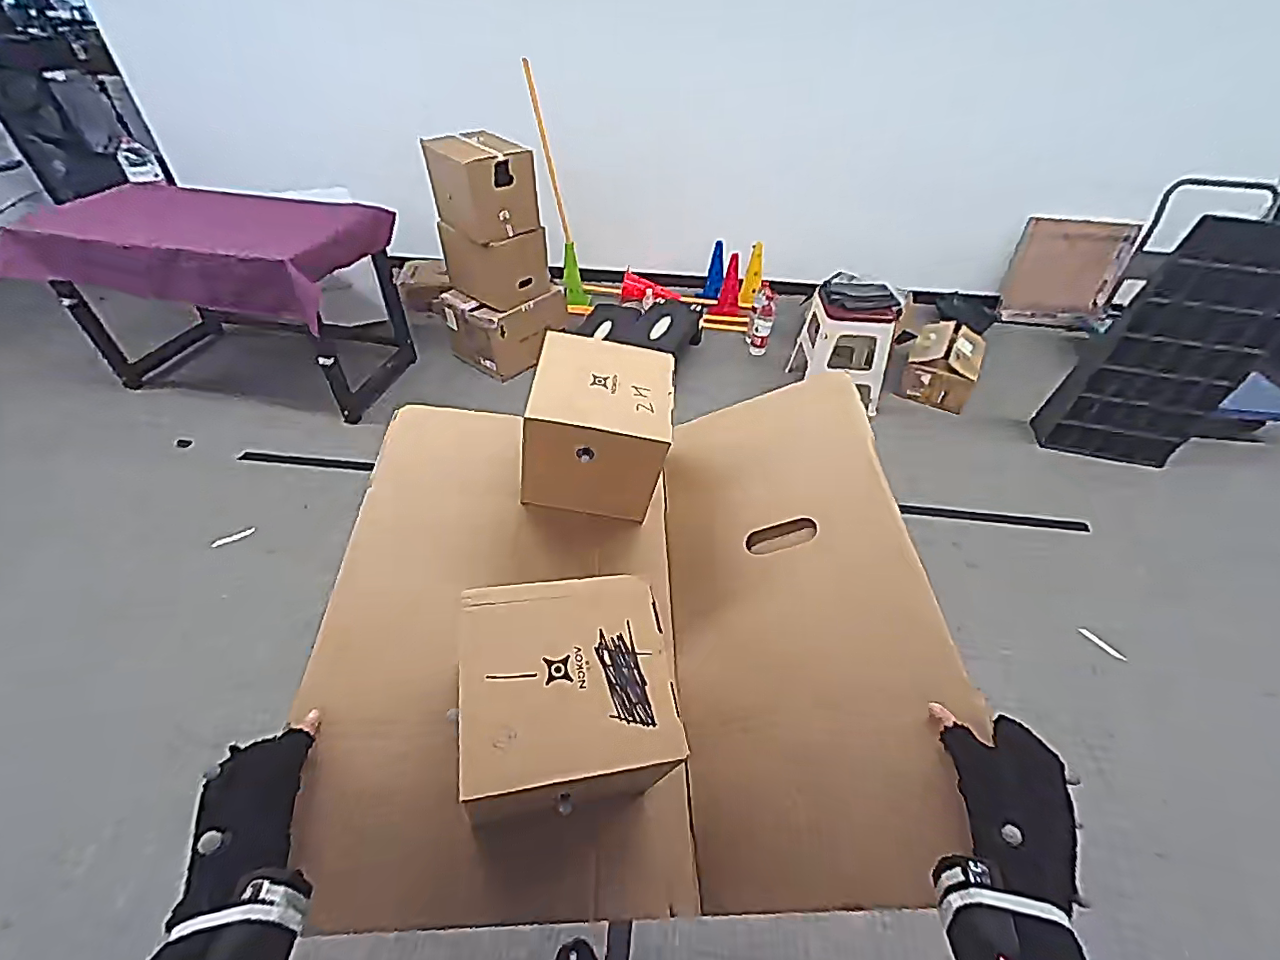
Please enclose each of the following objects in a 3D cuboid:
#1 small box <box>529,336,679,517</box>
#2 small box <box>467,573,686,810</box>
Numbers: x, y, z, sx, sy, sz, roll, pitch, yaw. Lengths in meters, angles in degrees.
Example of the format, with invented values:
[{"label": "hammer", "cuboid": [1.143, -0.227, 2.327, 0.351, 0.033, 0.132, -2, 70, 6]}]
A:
[{"label": "small box", "cuboid": [-0.052, -0.068, 0.748, 0.179, 0.176, 0.168, 11, 51, -6]}, {"label": "small box", "cuboid": [-0.074, 0.206, 0.527, 0.179, 0.176, 0.168, -2, 53, -15]}]
